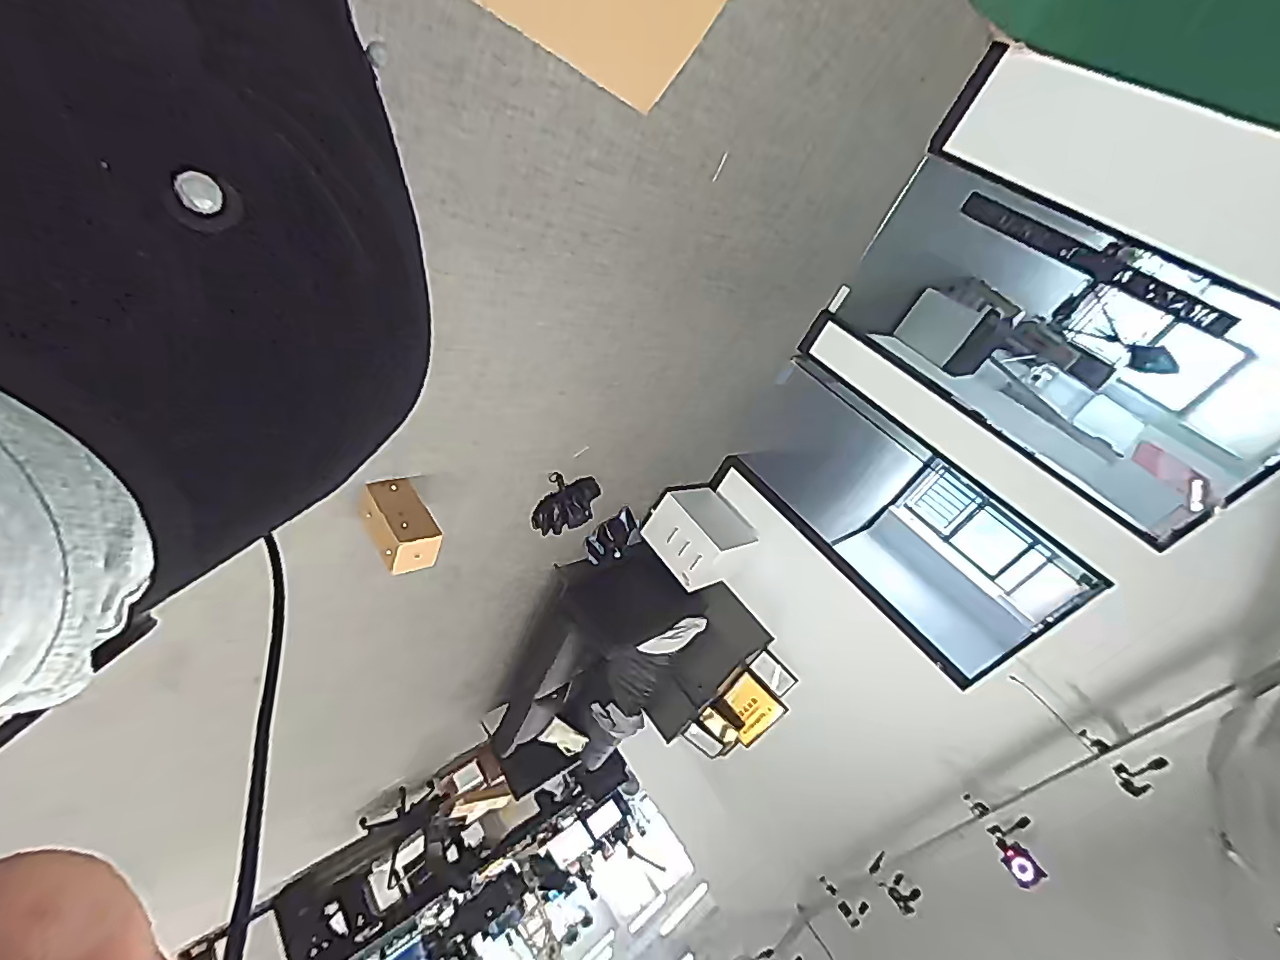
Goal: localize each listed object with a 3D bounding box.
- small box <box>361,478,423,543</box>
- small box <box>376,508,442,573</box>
[{"bbox_3d":[-0.985,0.116,2.134,0.168,0.176,0.179,-13,142,-45],"label":"small box"},{"bbox_3d":[-0.885,0.222,2.061,0.168,0.176,0.179,-11,142,-45],"label":"small box"}]
